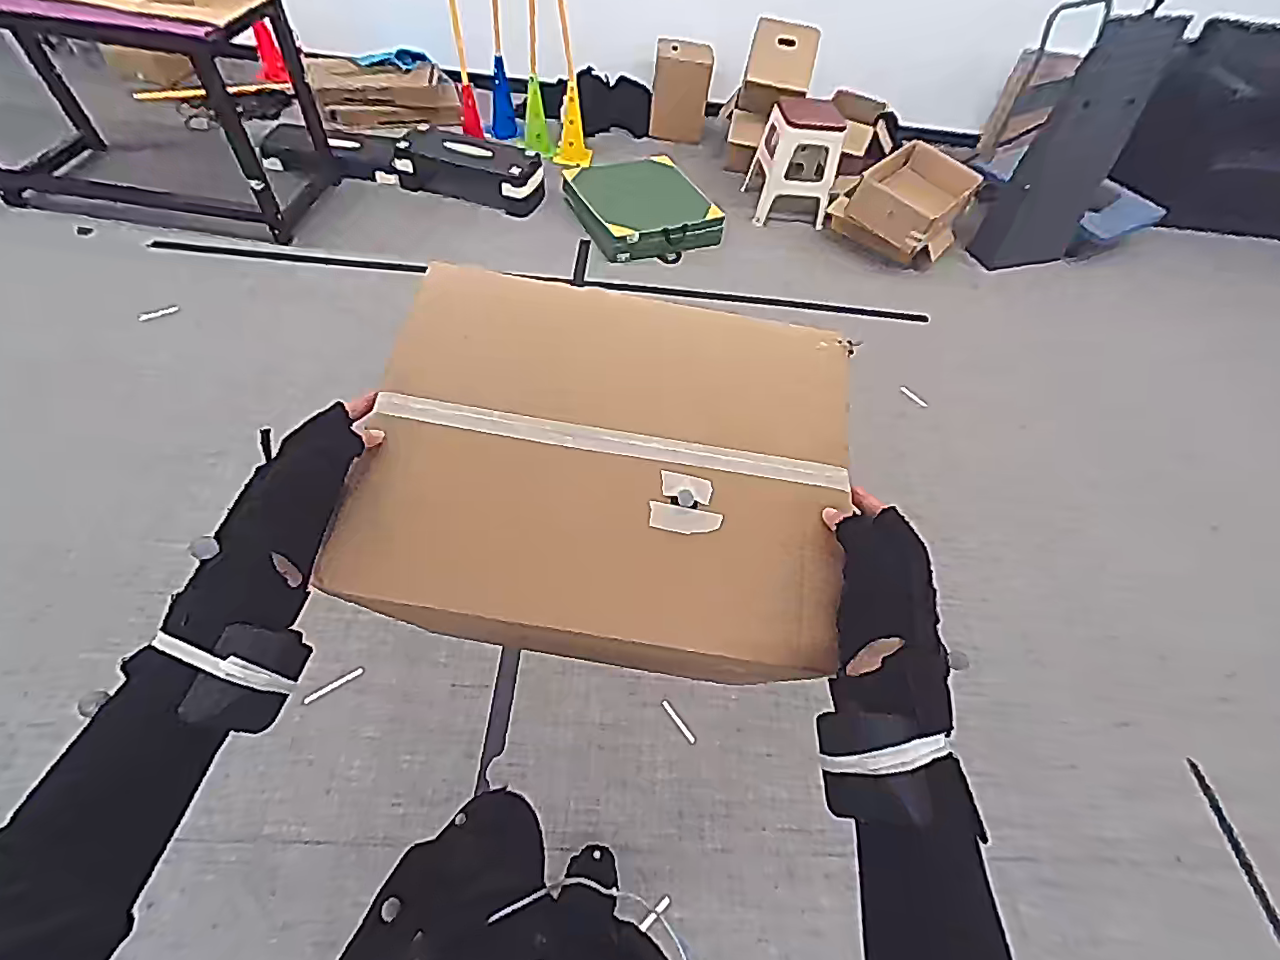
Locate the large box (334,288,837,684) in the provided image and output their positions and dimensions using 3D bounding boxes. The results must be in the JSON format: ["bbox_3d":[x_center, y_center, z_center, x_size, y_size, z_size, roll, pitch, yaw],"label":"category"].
[{"bbox_3d":[-0.035,0.036,0.614,0.408,0.320,0.320,10,68,-1],"label":"large box"}]
